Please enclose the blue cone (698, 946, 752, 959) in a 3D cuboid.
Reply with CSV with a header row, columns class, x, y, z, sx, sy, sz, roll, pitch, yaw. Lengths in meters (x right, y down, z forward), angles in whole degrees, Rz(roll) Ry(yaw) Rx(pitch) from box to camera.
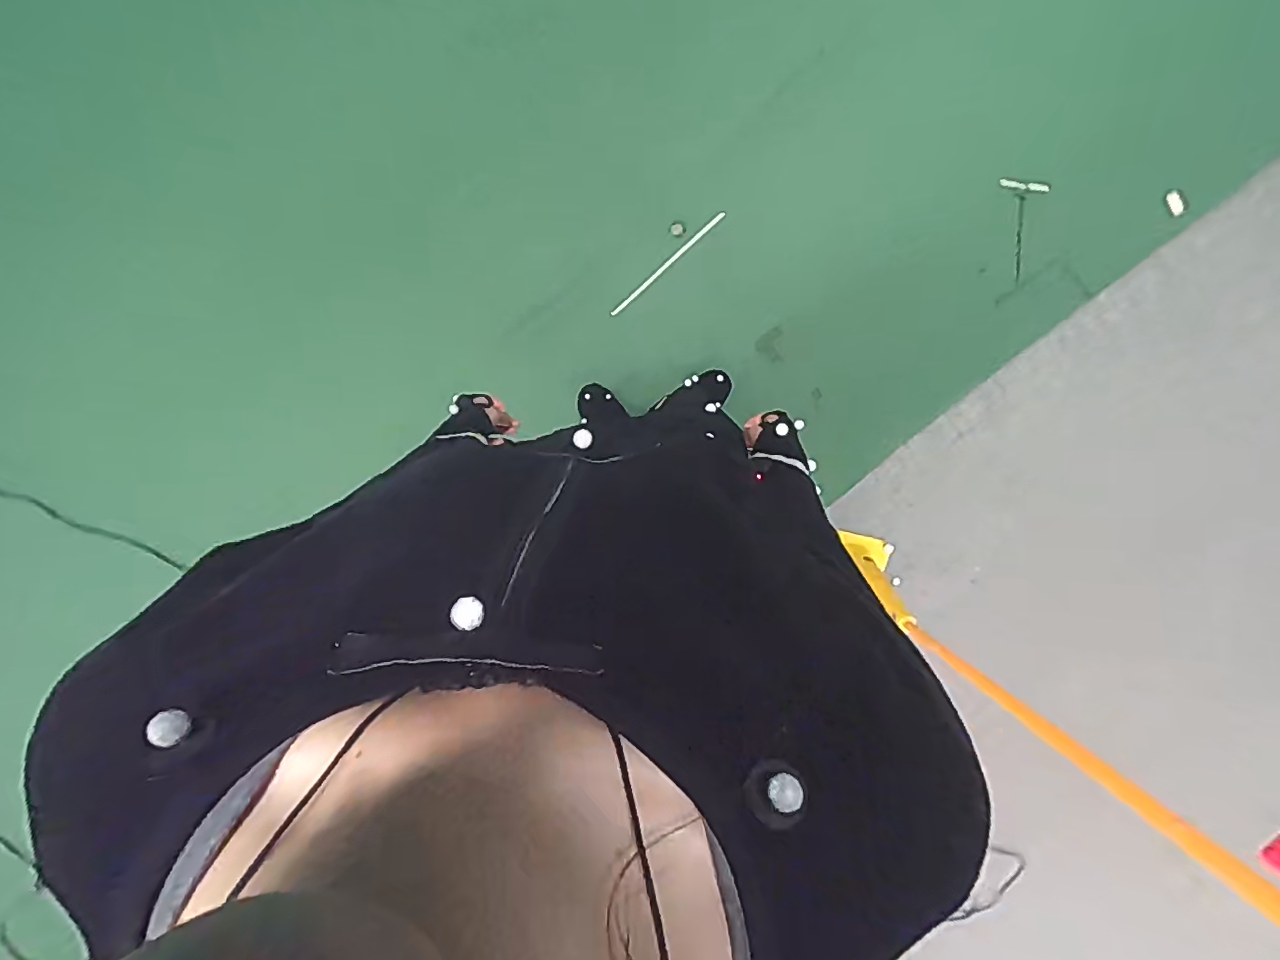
class,x,y,z,sx,sy,sz,roll,pitch,yaw
blue cone,0.287,1.734,1.712,0.192,0.380,0.193,5,105,-1
